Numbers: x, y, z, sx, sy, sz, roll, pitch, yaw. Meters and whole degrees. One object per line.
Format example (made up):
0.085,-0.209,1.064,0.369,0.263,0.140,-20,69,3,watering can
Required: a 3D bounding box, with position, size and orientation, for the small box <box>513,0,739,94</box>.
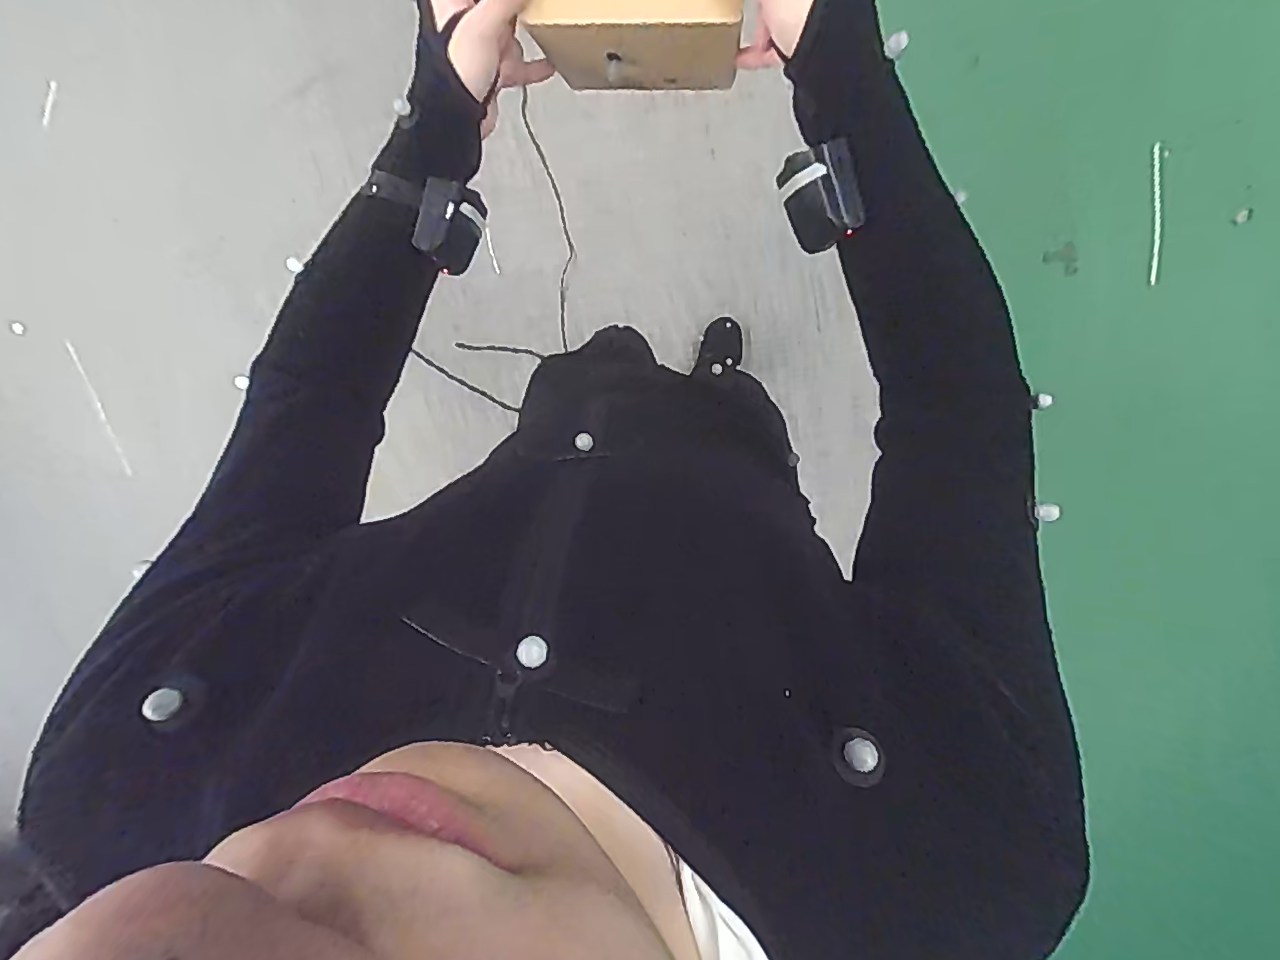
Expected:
0.000,-0.435,0.436,0.168,0.176,0.179,4,110,6,small box
